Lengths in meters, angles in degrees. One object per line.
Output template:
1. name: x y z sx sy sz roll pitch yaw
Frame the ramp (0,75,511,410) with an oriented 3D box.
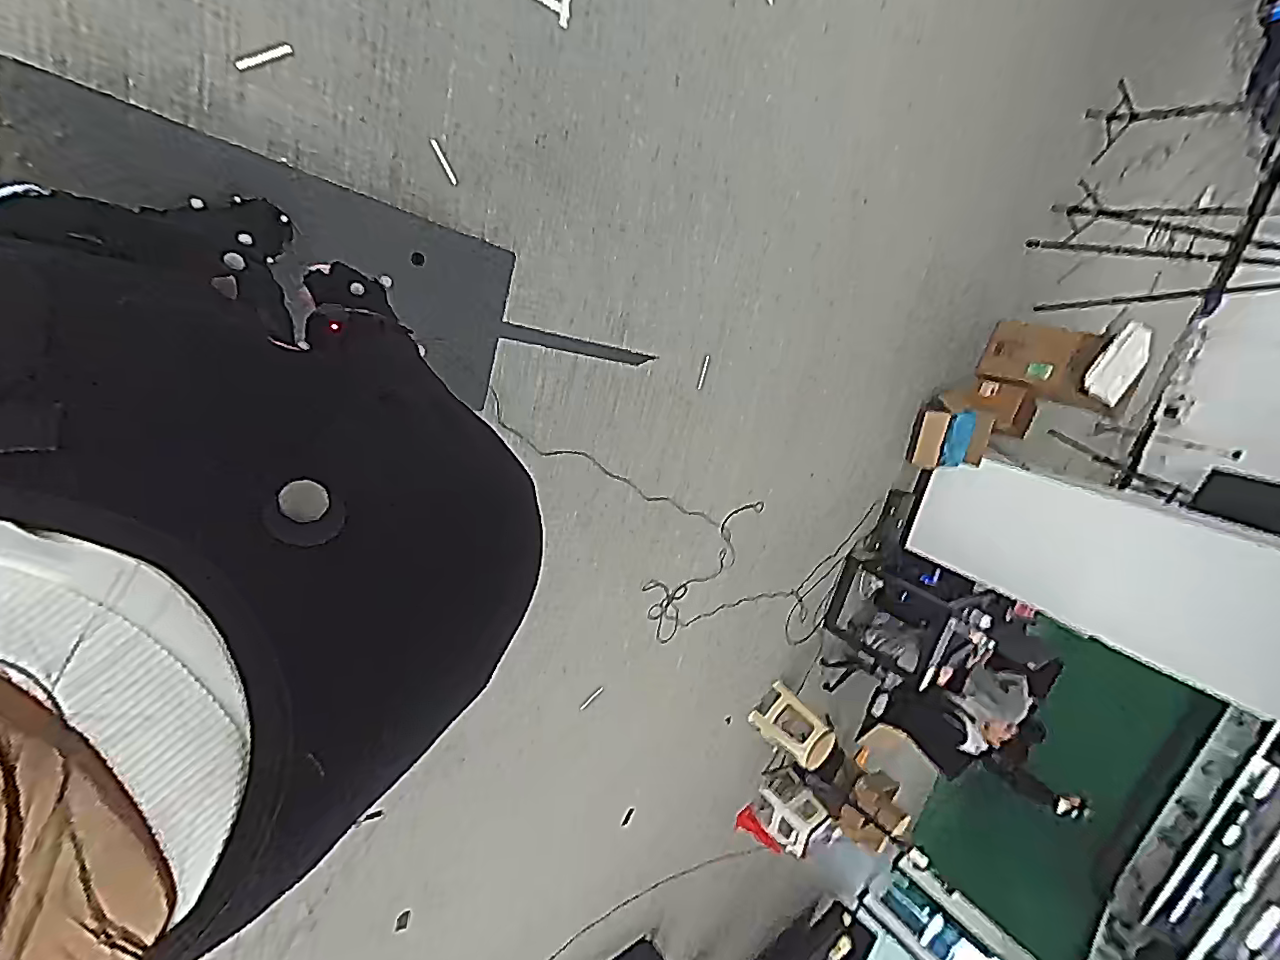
1. ramp: -0.754 -0.433 1.287 0.991 0.206 0.509 -1 109 -41
